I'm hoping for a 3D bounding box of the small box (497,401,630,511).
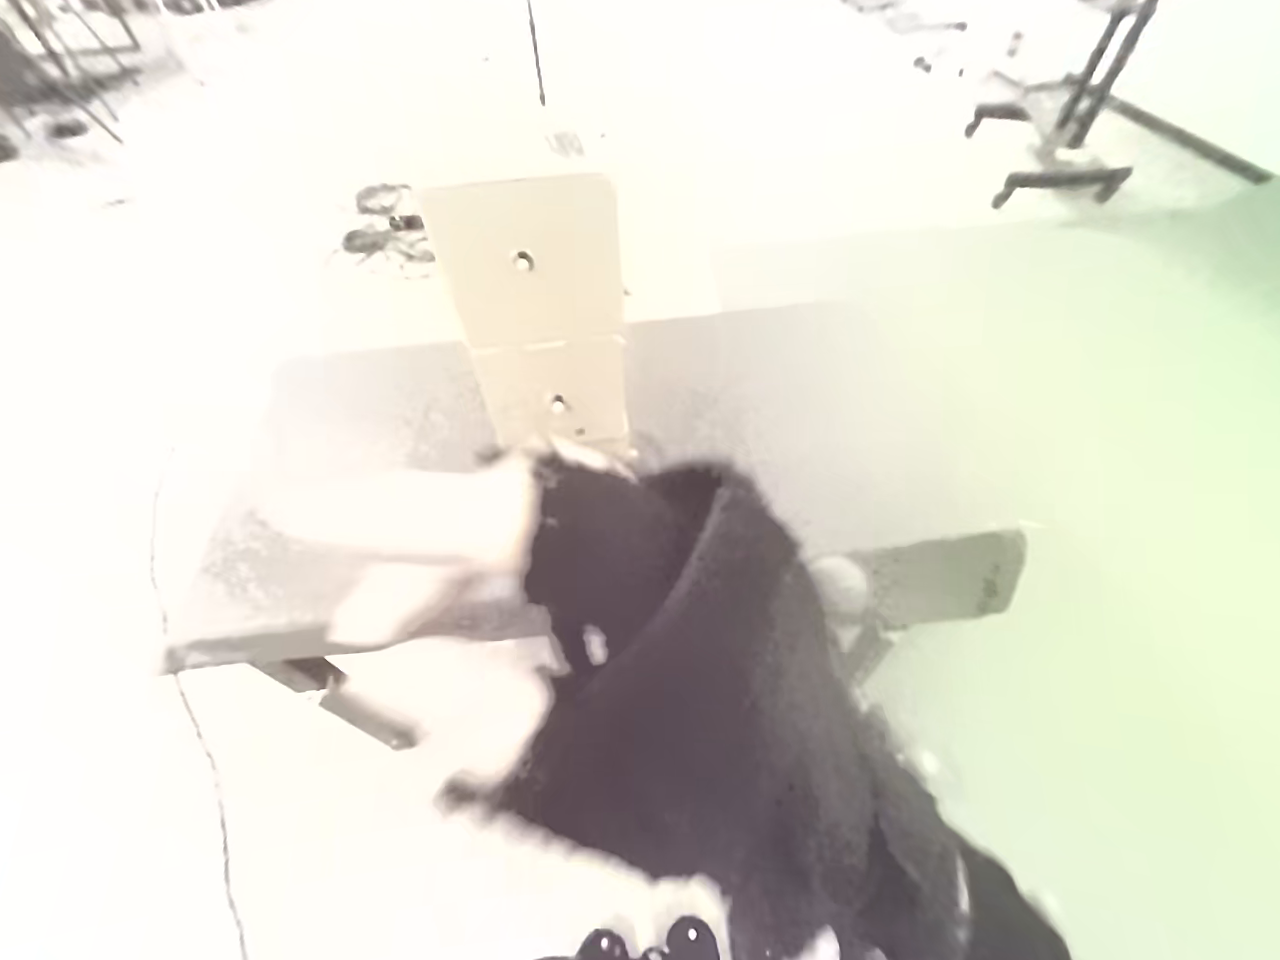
[{"bbox_3d":[-0.113,-0.067,0.833,0.179,0.176,0.168,-7,53,-5],"label":"small box"}]

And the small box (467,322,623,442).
[{"bbox_3d":[-0.116,-0.163,0.700,0.168,0.176,0.179,-8,53,-4],"label":"small box"}]
